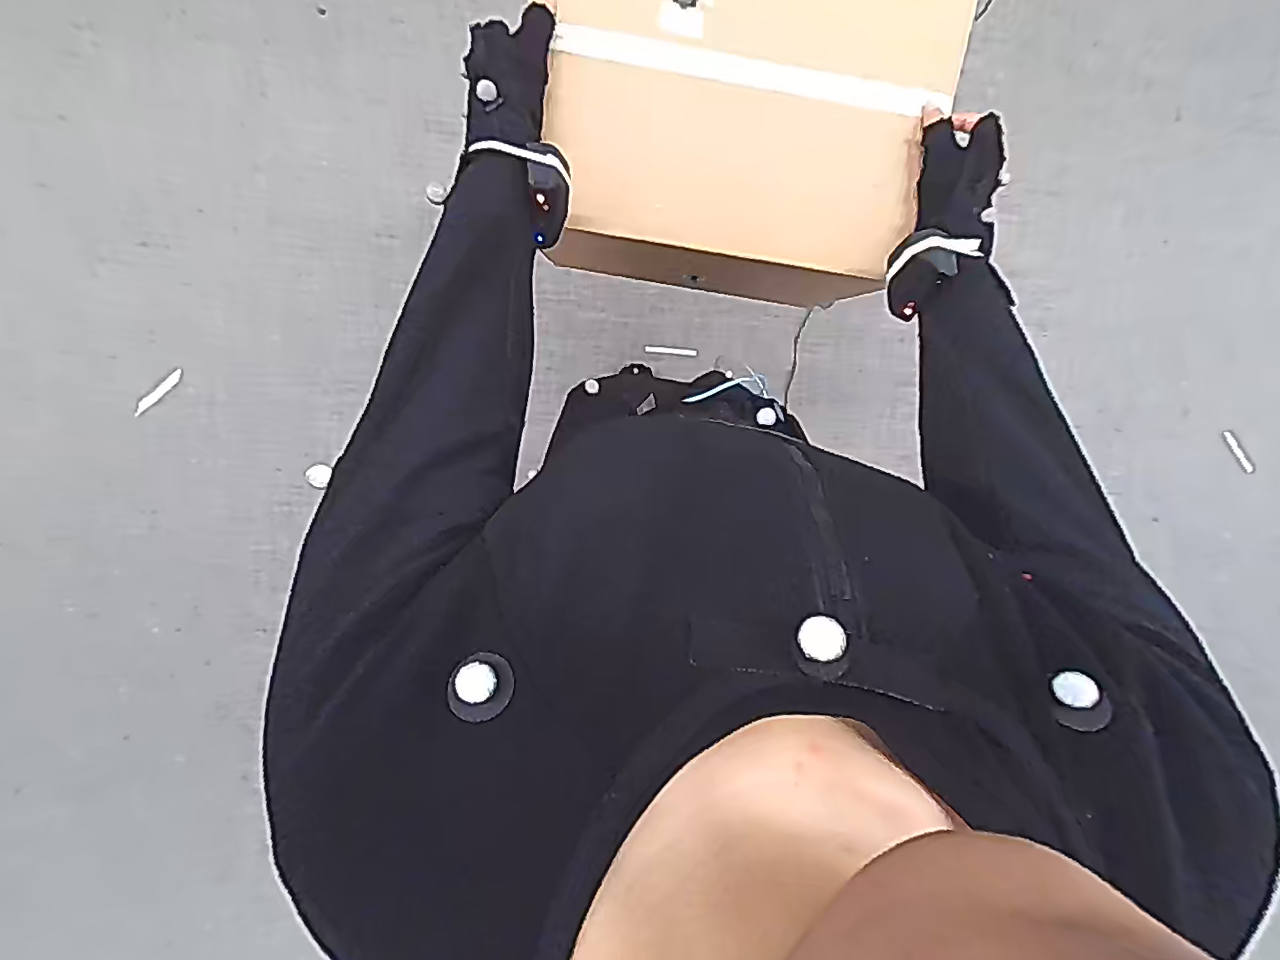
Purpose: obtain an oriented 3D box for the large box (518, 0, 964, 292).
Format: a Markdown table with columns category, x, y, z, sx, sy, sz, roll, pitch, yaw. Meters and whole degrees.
| category | x | y | z | sx | sy | sz | roll | pitch | yaw |
| --- | --- | --- | --- | --- | --- | --- | --- | --- | --- |
| large box | 0.092 | -0.424 | 0.658 | 0.408 | 0.320 | 0.320 | 8 | 103 | -3 |
